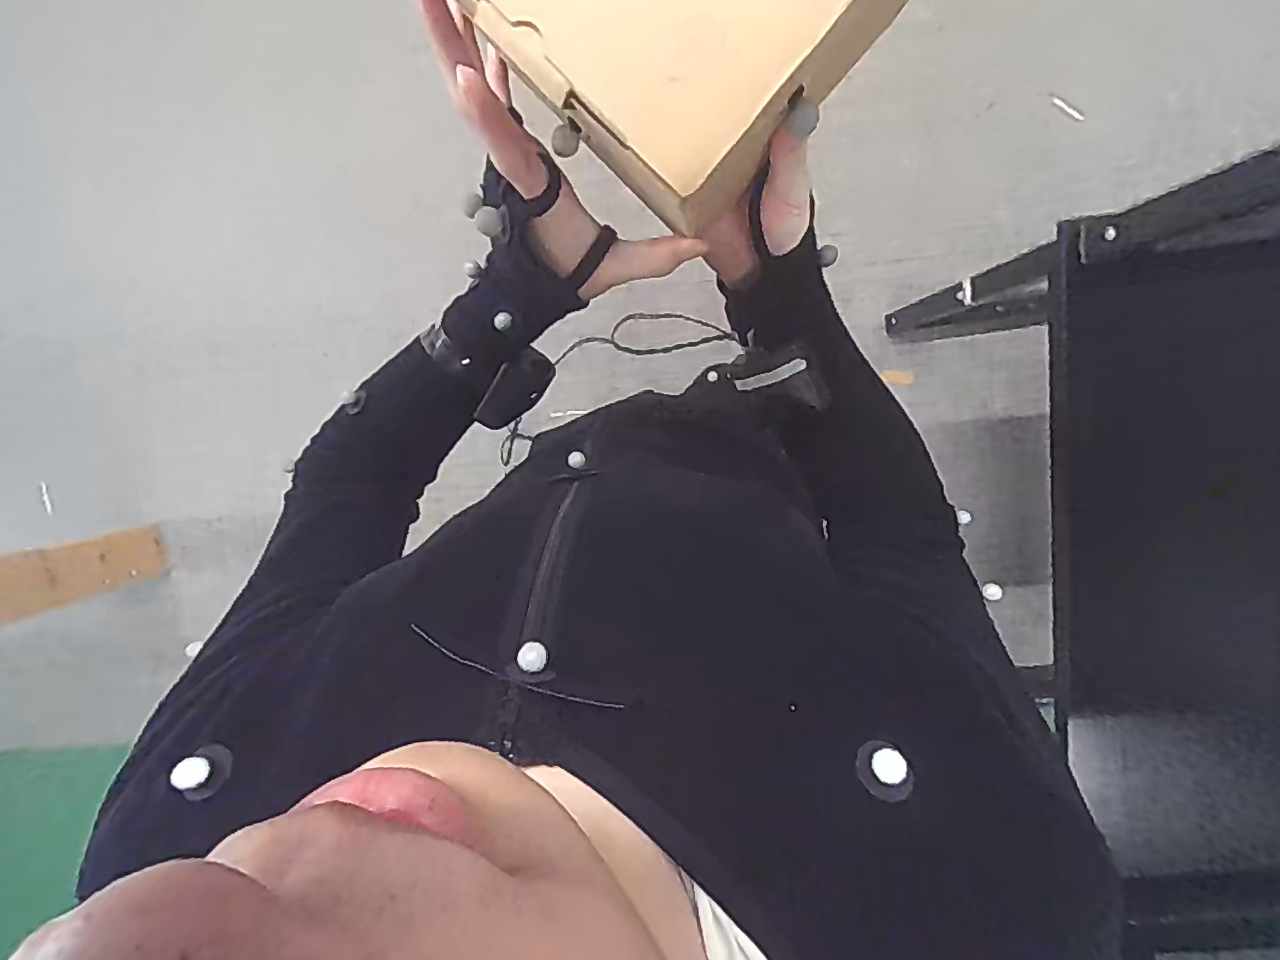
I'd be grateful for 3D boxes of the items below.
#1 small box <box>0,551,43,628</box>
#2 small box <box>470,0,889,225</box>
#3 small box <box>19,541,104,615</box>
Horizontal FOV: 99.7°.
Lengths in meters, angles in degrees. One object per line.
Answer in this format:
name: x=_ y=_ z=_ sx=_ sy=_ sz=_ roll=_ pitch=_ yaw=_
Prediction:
small box: x=-1.653 y=0.286 z=1.338 sx=0.168 sy=0.176 sz=0.179 roll=-6 pitch=96 yaw=4
small box: x=0.023 y=-0.253 z=0.256 sx=0.168 sy=0.176 sz=0.179 roll=42 pitch=107 yaw=-7
small box: x=-1.653 y=0.273 z=1.503 sx=0.179 sy=0.176 sz=0.168 roll=-7 pitch=96 yaw=5
